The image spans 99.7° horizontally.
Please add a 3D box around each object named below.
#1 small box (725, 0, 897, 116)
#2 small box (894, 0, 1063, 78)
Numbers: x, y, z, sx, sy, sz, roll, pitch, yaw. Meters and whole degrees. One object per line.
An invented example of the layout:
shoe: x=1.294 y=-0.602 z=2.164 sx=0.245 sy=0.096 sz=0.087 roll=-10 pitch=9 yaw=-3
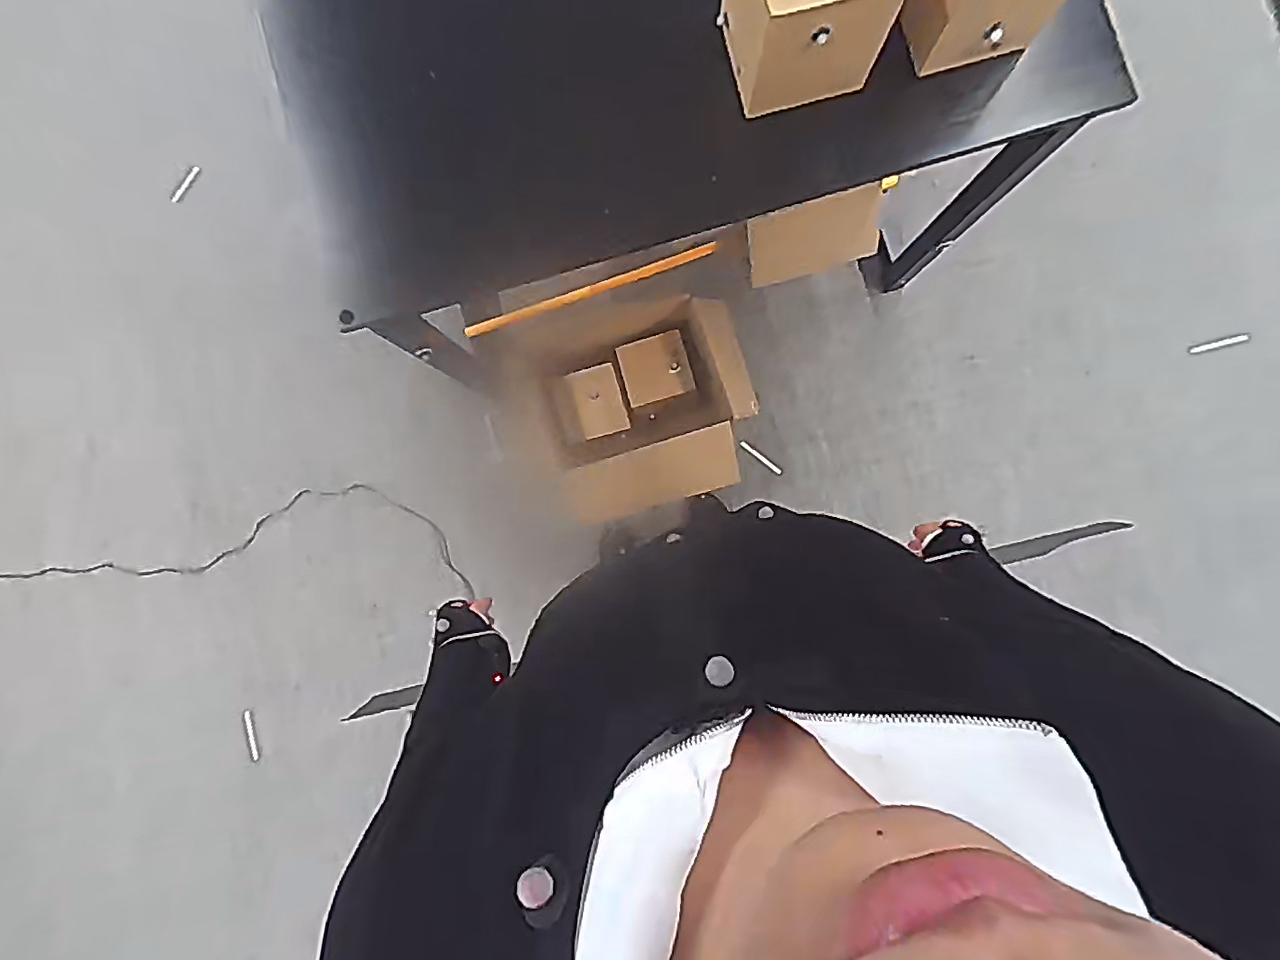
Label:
small box: x=0.216 y=-0.628 z=0.719 sx=0.179 sy=0.176 sz=0.168 roll=-14 pitch=87 yaw=1
small box: x=0.454 y=-0.688 z=0.711 sx=0.168 sy=0.176 sz=0.179 roll=-14 pitch=87 yaw=3
